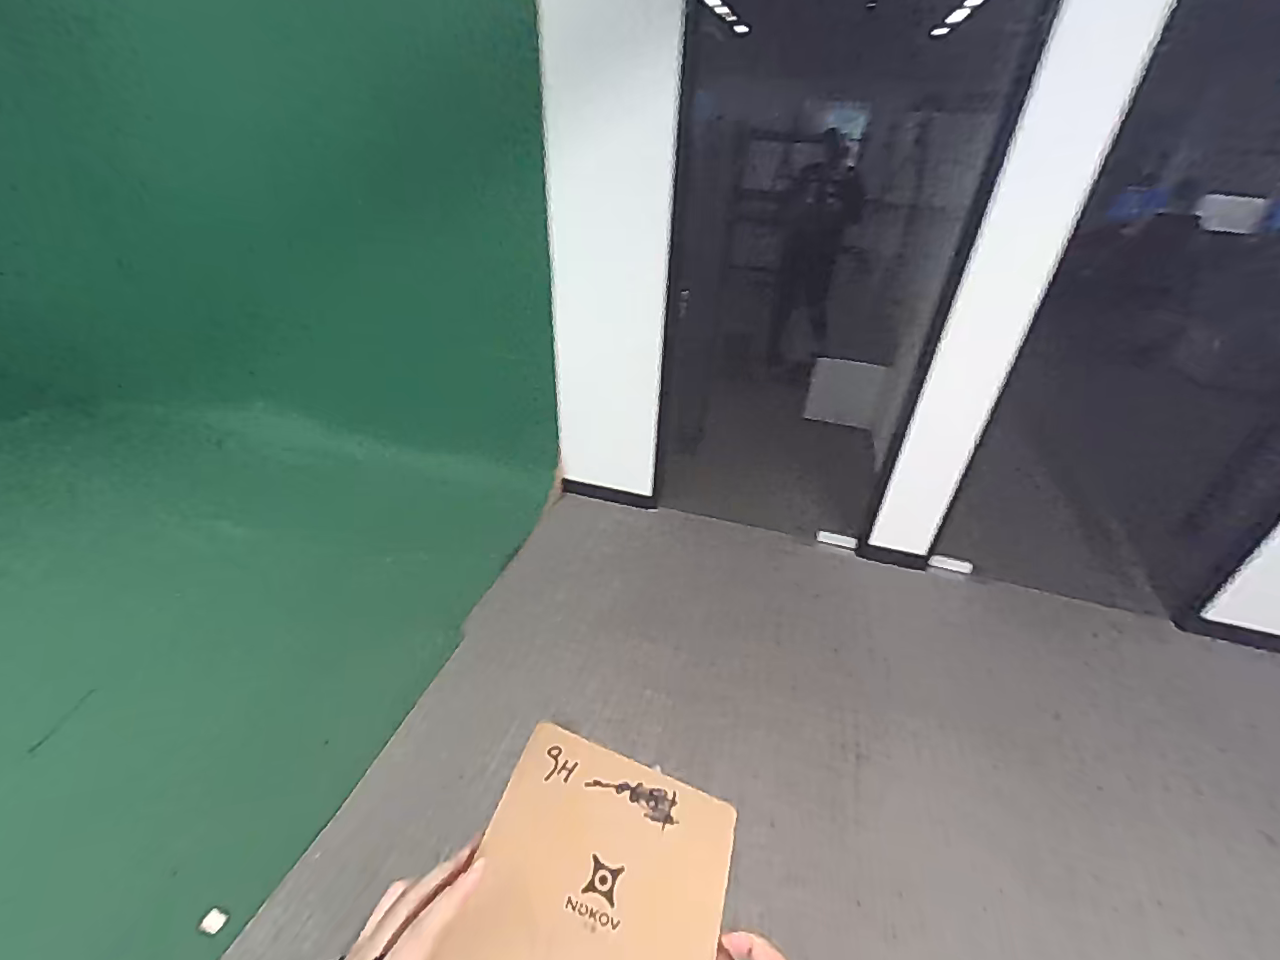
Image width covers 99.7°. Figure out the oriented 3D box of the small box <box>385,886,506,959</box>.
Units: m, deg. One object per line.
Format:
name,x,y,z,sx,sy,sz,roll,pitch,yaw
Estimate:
small box,-0.353,0.890,0.972,0.168,0.176,0.179,10,32,13
